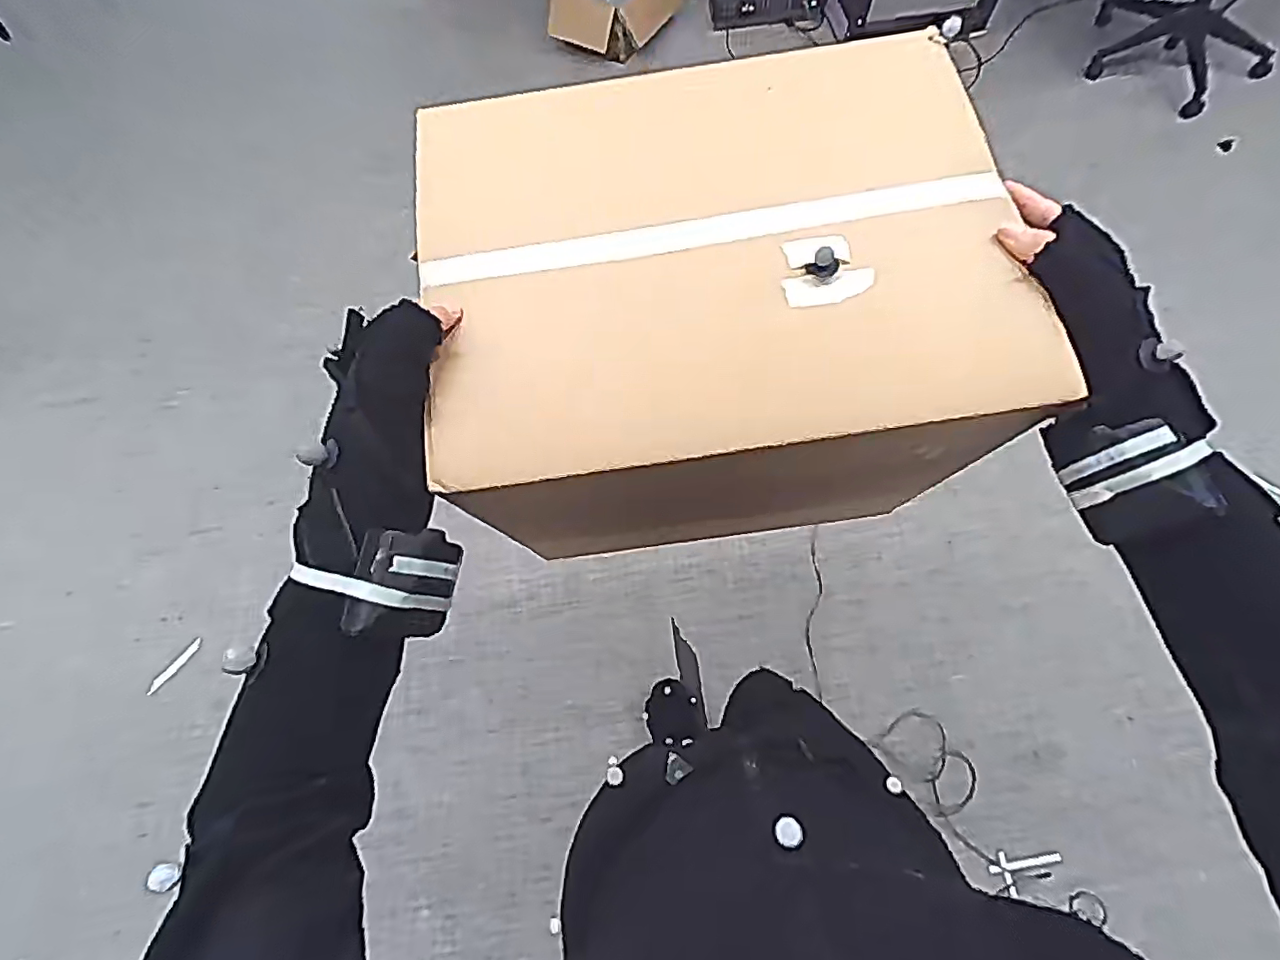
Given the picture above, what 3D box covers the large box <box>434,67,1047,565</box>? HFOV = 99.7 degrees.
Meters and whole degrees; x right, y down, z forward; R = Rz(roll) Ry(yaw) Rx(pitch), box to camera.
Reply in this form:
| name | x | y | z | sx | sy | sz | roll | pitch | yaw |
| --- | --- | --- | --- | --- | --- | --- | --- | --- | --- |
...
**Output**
| name | x | y | z | sx | sy | sz | roll | pitch | yaw |
| --- | --- | --- | --- | --- | --- | --- | --- | --- | --- |
| large box | 0.055 | -0.117 | 0.537 | 0.408 | 0.320 | 0.320 | -9 | 73 | 1 |
